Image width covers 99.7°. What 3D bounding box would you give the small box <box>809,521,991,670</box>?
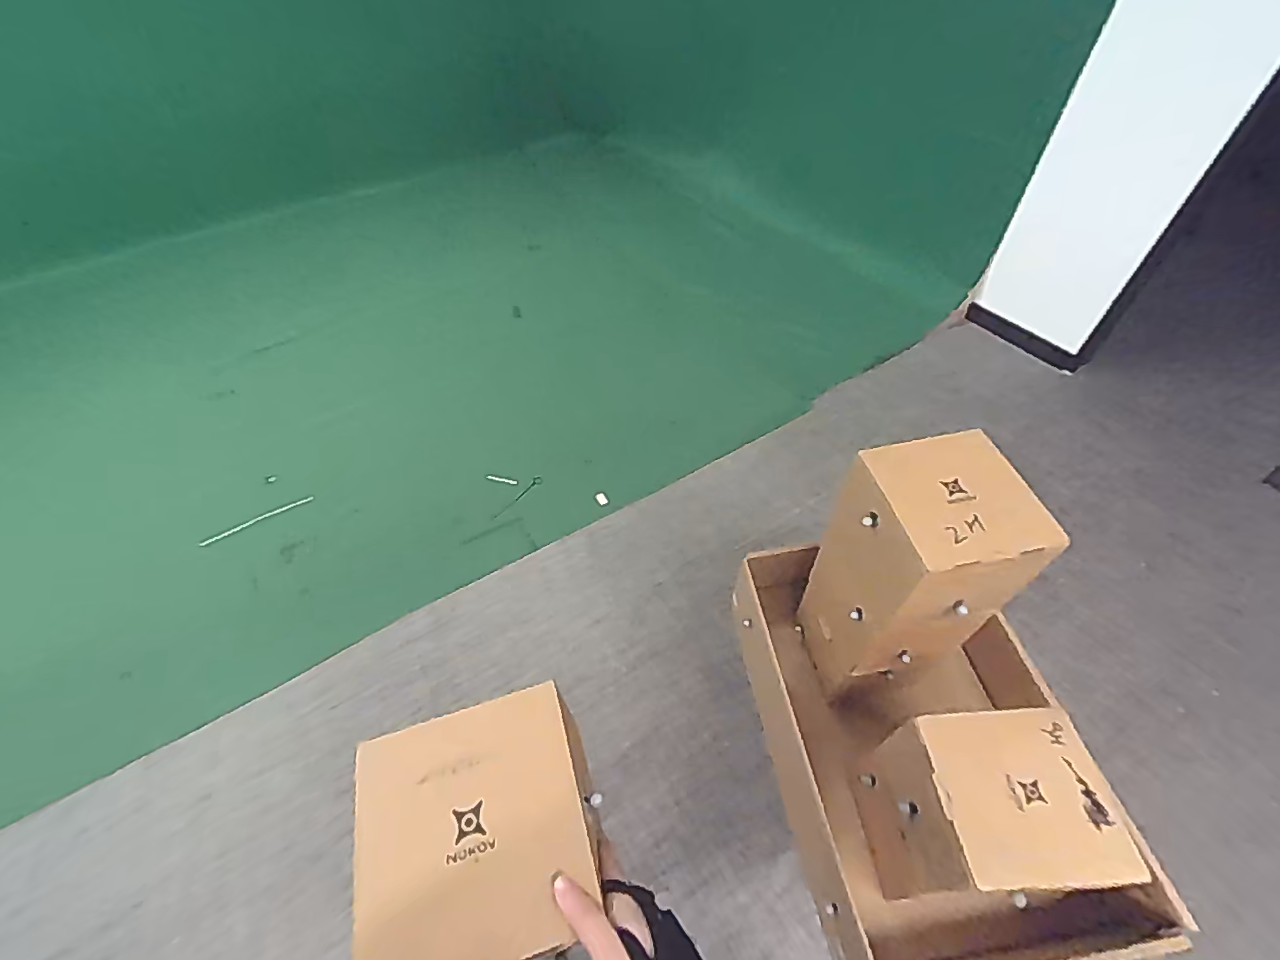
[{"bbox_3d":[0.375,0.166,0.823,0.168,0.176,0.179,-9,53,-4],"label":"small box"}]

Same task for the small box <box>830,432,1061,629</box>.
[{"bbox_3d":[0.366,0.067,0.692,0.168,0.176,0.179,-10,53,-4],"label":"small box"}]

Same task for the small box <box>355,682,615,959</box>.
[{"bbox_3d":[-0.122,0.304,0.464,0.168,0.176,0.179,-14,53,-9],"label":"small box"}]

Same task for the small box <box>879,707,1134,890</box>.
[{"bbox_3d":[0.405,0.383,0.646,0.179,0.176,0.168,-3,52,1],"label":"small box"}]
